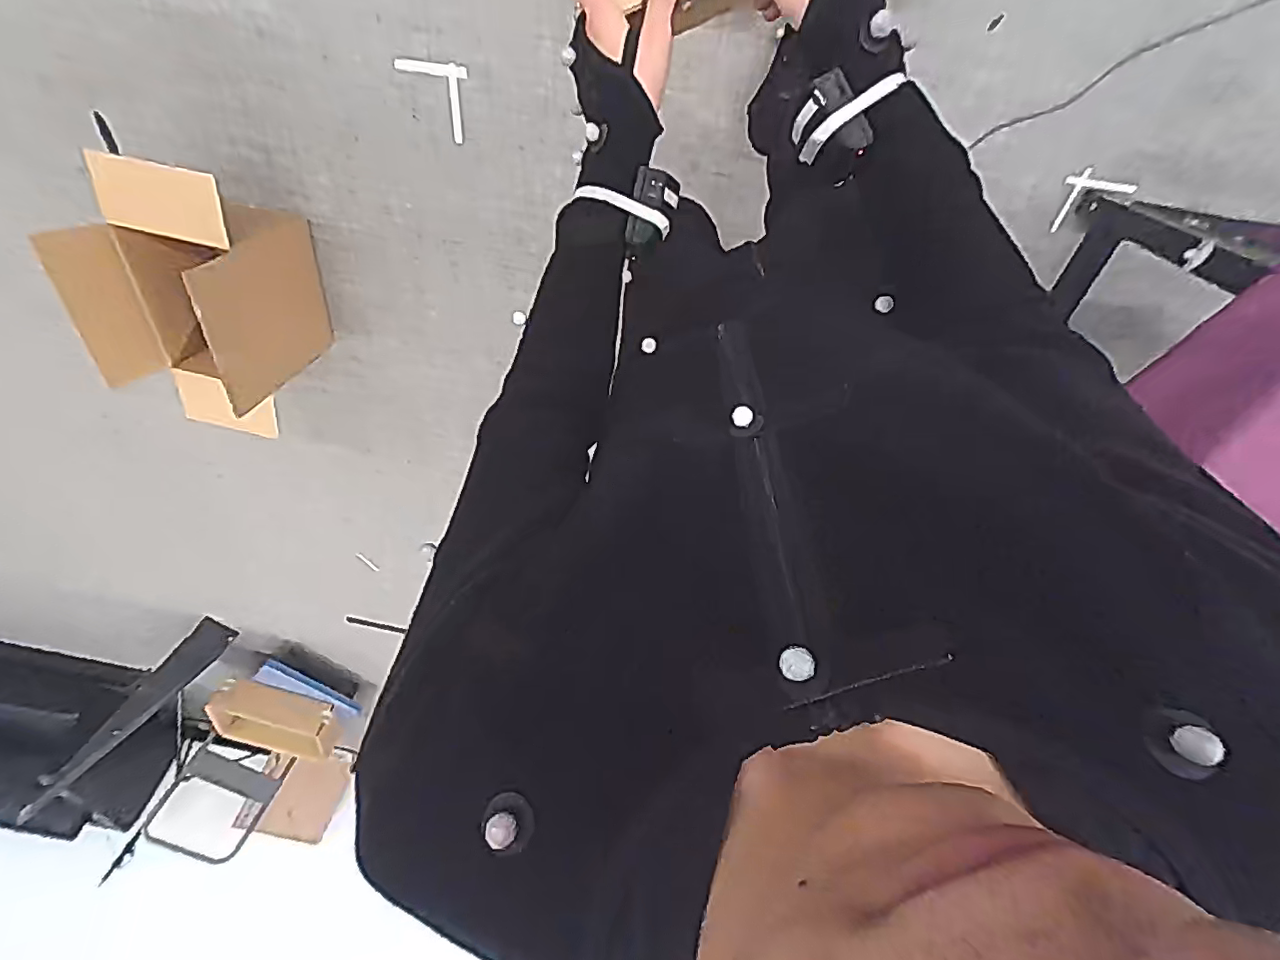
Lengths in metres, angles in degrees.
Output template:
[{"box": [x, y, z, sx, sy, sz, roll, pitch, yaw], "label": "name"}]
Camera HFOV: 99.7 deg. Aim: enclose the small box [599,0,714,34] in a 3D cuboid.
[{"box": [0.024, -0.494, 0.428, 0.168, 0.176, 0.179, -16, 117, 13], "label": "small box"}]
